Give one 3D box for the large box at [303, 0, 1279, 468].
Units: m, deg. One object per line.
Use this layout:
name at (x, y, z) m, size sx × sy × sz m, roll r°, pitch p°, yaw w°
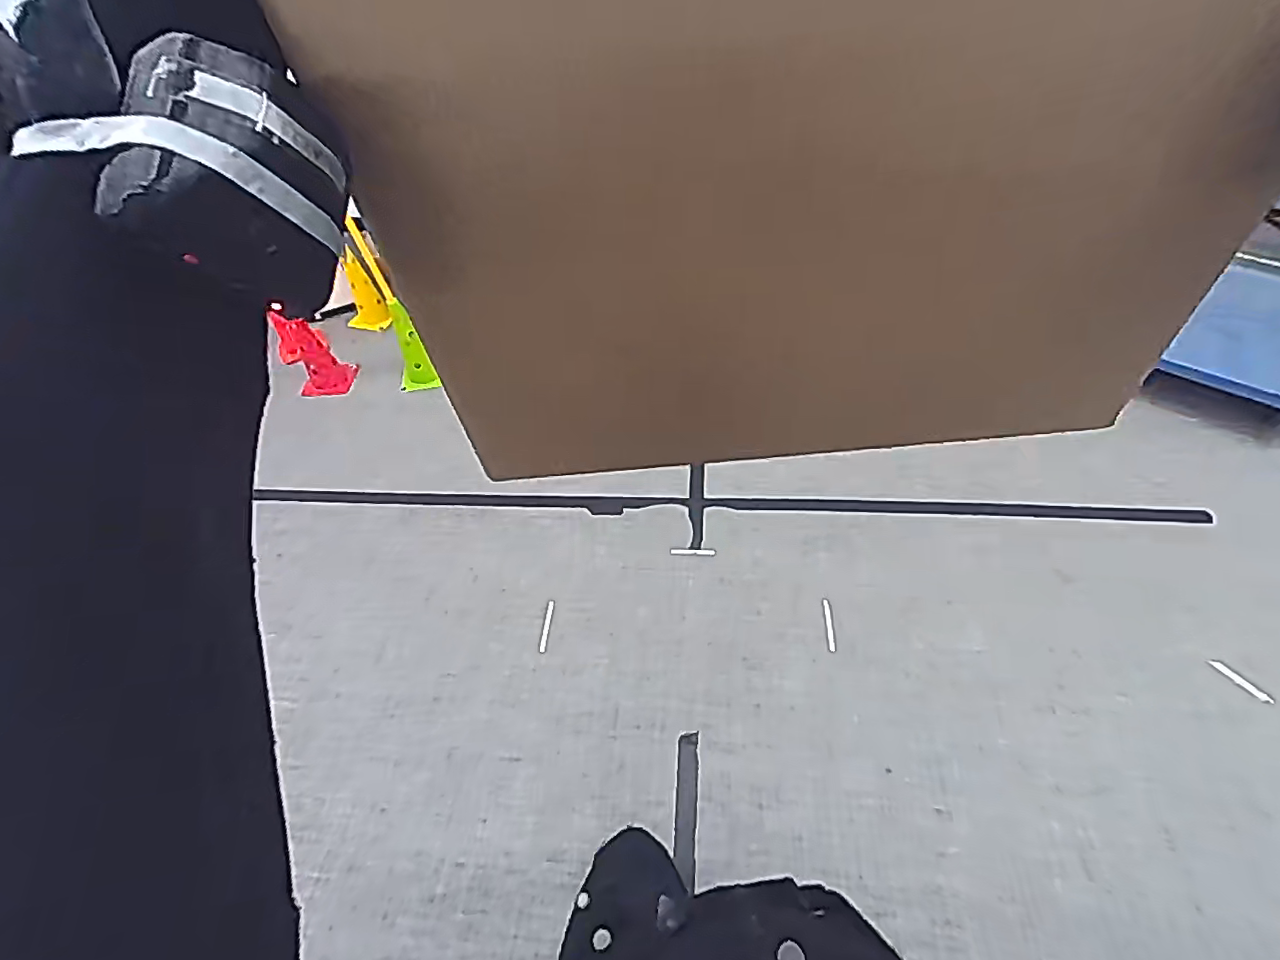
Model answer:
large box at (0.073, -0.234, 0.360) m, size 0.408 × 0.320 × 0.320 m, roll -5°, pitch 48°, yaw 3°
